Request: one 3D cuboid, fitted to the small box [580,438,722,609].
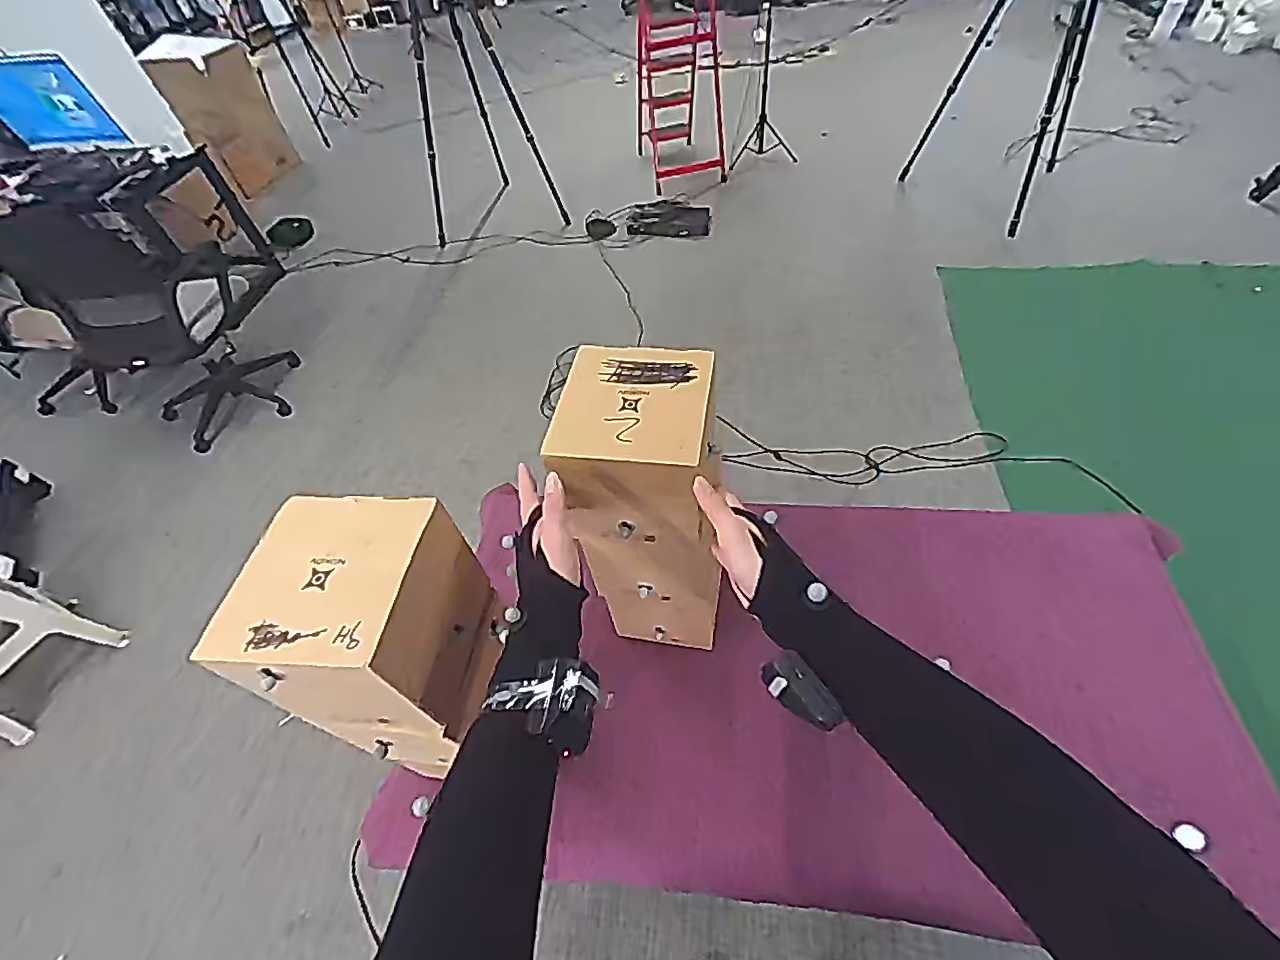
[{"bbox_3d":[0.026,0.063,0.779,0.168,0.176,0.179,4,54,11],"label":"small box"}]

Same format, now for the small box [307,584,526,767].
[{"bbox_3d":[-0.258,0.243,0.678,0.168,0.176,0.179,2,50,10],"label":"small box"}]

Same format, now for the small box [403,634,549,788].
[{"bbox_3d":[-0.244,0.339,0.808,0.168,0.176,0.179,2,52,10],"label":"small box"}]

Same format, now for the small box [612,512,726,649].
[{"bbox_3d":[0.050,0.160,0.910,0.168,0.176,0.179,6,54,13],"label":"small box"}]

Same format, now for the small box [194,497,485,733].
[{"bbox_3d":[-0.277,0.136,0.554,0.168,0.176,0.179,0,49,10],"label":"small box"}]
